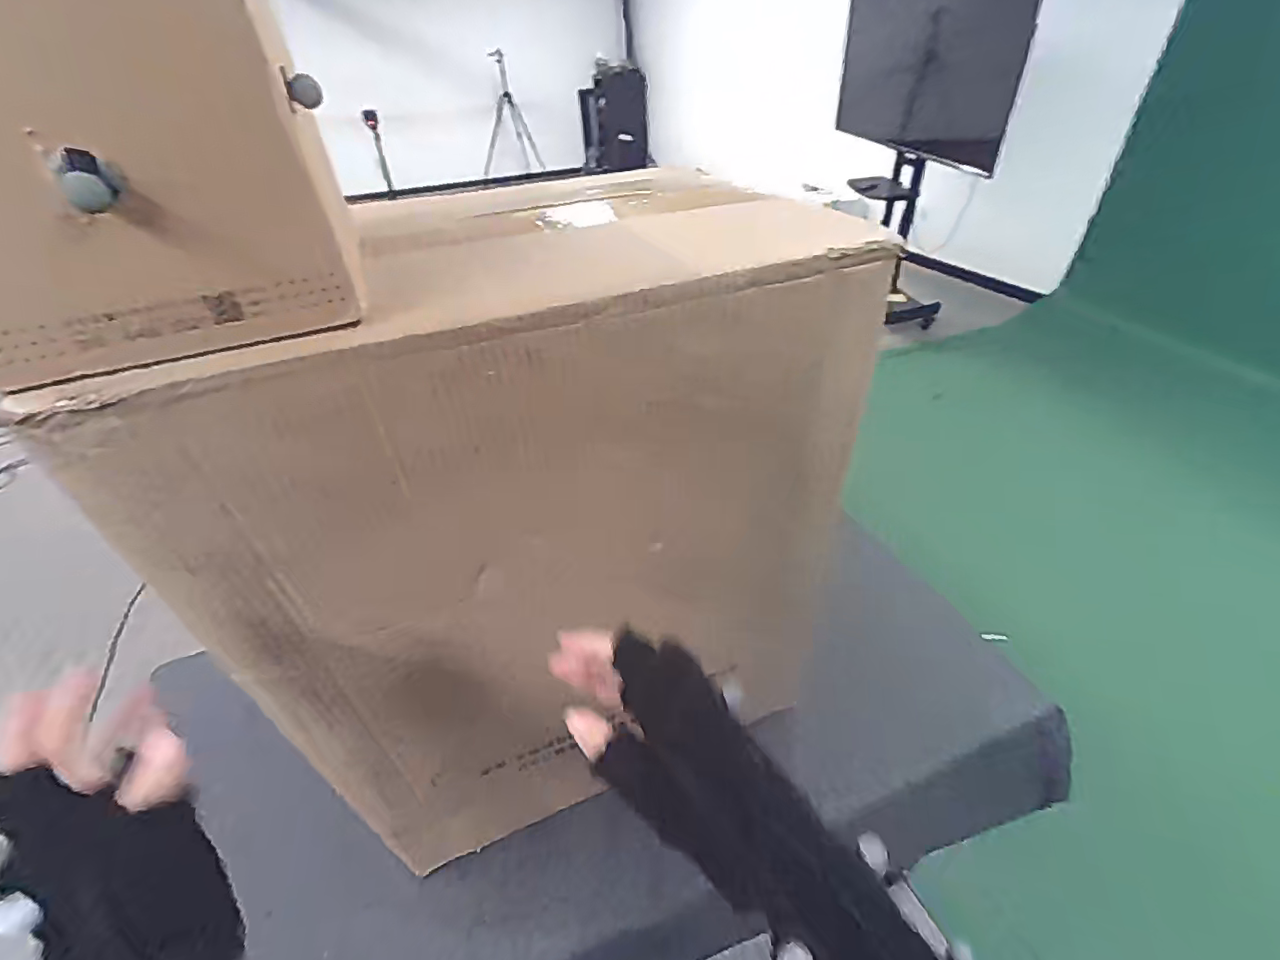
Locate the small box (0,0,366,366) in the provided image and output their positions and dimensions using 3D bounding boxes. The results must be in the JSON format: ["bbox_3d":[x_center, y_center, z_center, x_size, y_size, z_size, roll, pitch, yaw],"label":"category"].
[{"bbox_3d":[-0.260,-0.174,0.284,0.168,0.176,0.179,-17,43,-16],"label":"small box"}]
